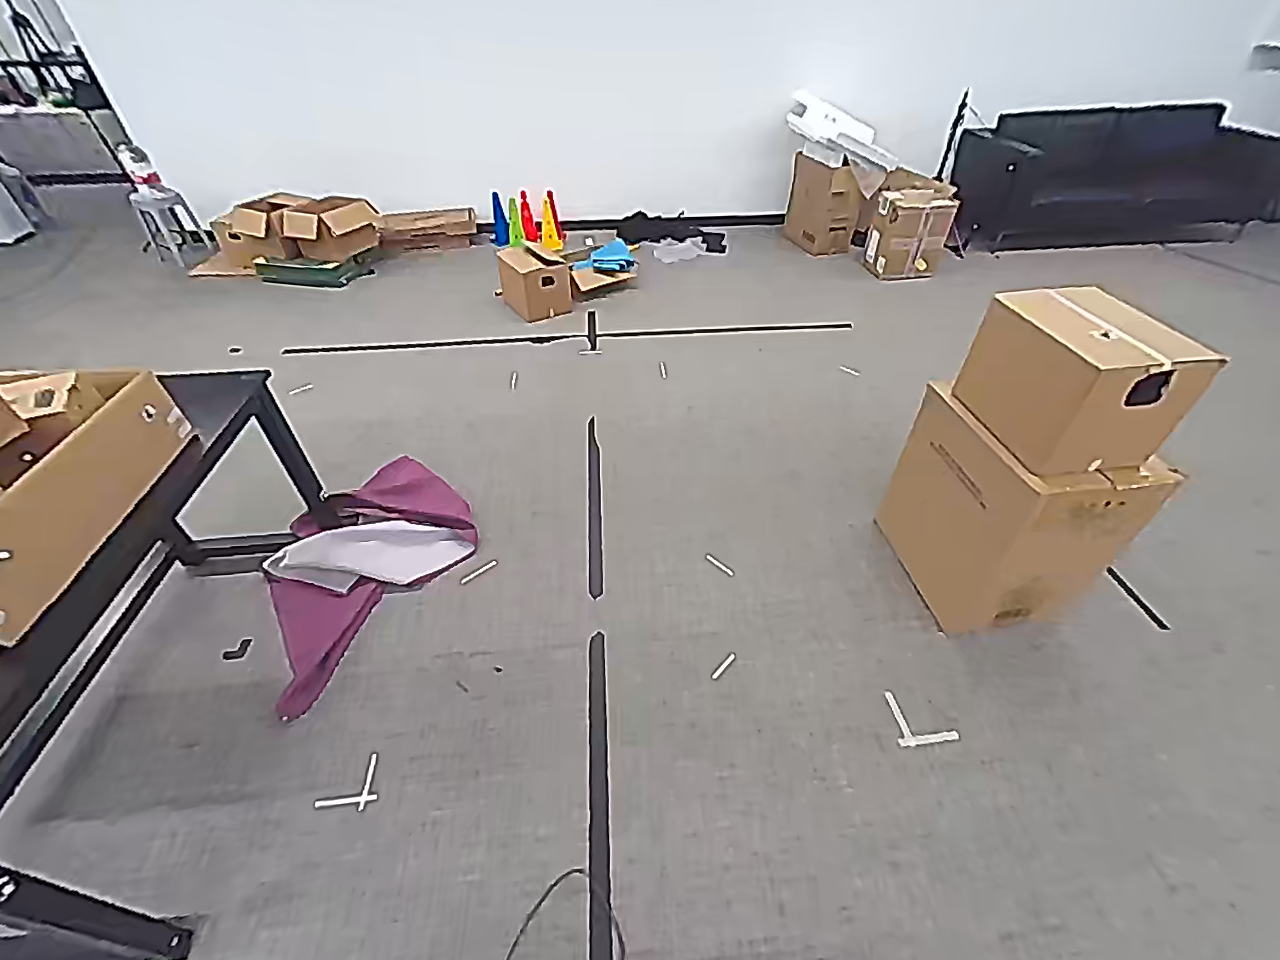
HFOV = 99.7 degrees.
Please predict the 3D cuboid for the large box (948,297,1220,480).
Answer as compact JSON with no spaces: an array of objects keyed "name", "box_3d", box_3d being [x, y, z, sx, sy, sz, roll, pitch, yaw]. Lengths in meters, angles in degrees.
[{"name":"large box","box_3d":[1.123,-0.253,1.439,0.320,0.320,0.408,-6,43,-6]}]
